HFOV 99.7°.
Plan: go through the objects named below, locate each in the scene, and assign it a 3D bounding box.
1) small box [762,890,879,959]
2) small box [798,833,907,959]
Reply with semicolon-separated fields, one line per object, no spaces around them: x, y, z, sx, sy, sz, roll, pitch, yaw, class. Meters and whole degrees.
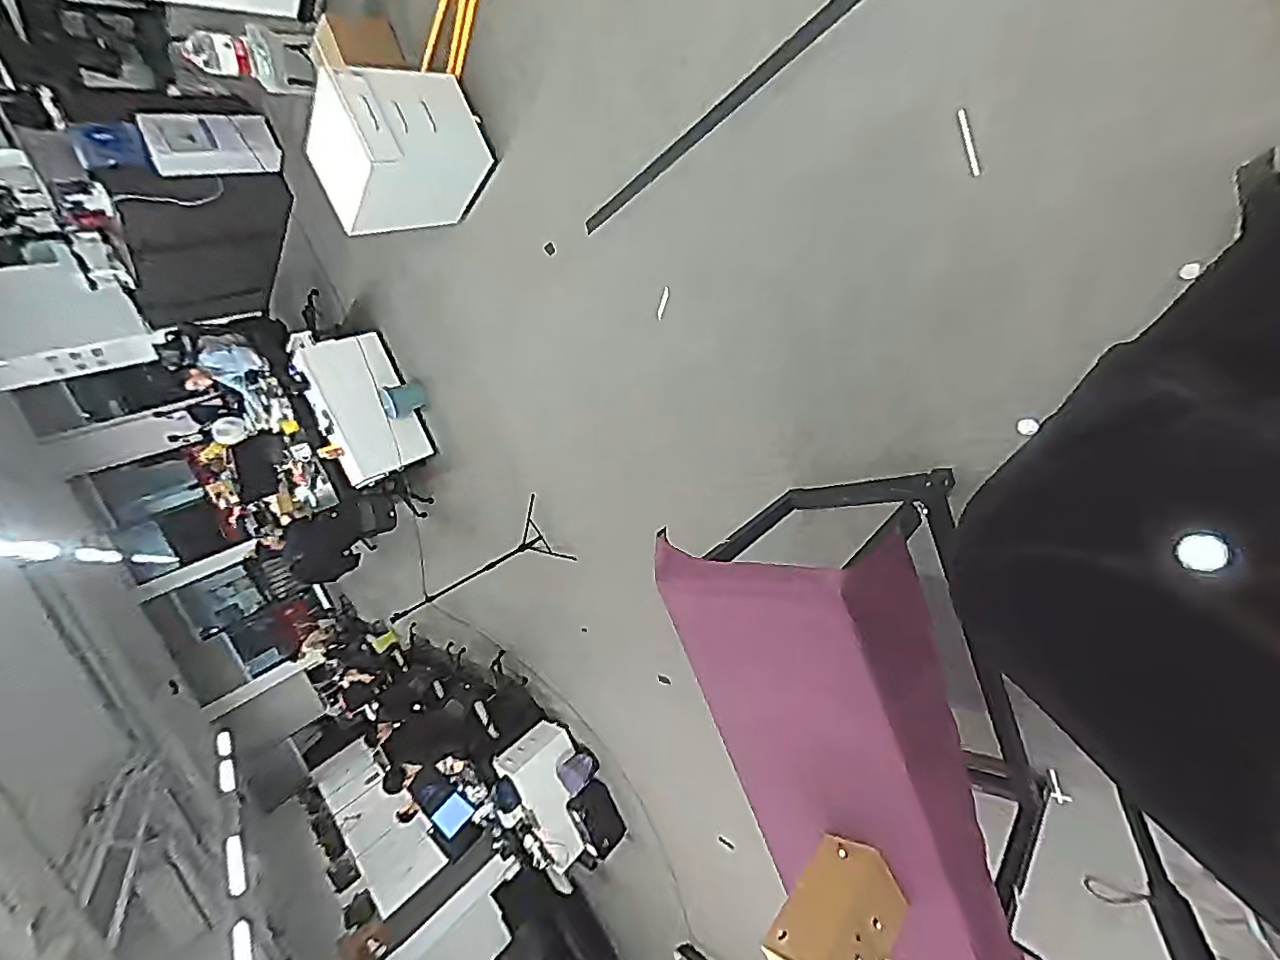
0.435;1.136;1.292;0.179;0.176;0.168;-29;91;52;small box
0.548;1.062;1.388;0.168;0.176;0.179;-27;91;52;small box
